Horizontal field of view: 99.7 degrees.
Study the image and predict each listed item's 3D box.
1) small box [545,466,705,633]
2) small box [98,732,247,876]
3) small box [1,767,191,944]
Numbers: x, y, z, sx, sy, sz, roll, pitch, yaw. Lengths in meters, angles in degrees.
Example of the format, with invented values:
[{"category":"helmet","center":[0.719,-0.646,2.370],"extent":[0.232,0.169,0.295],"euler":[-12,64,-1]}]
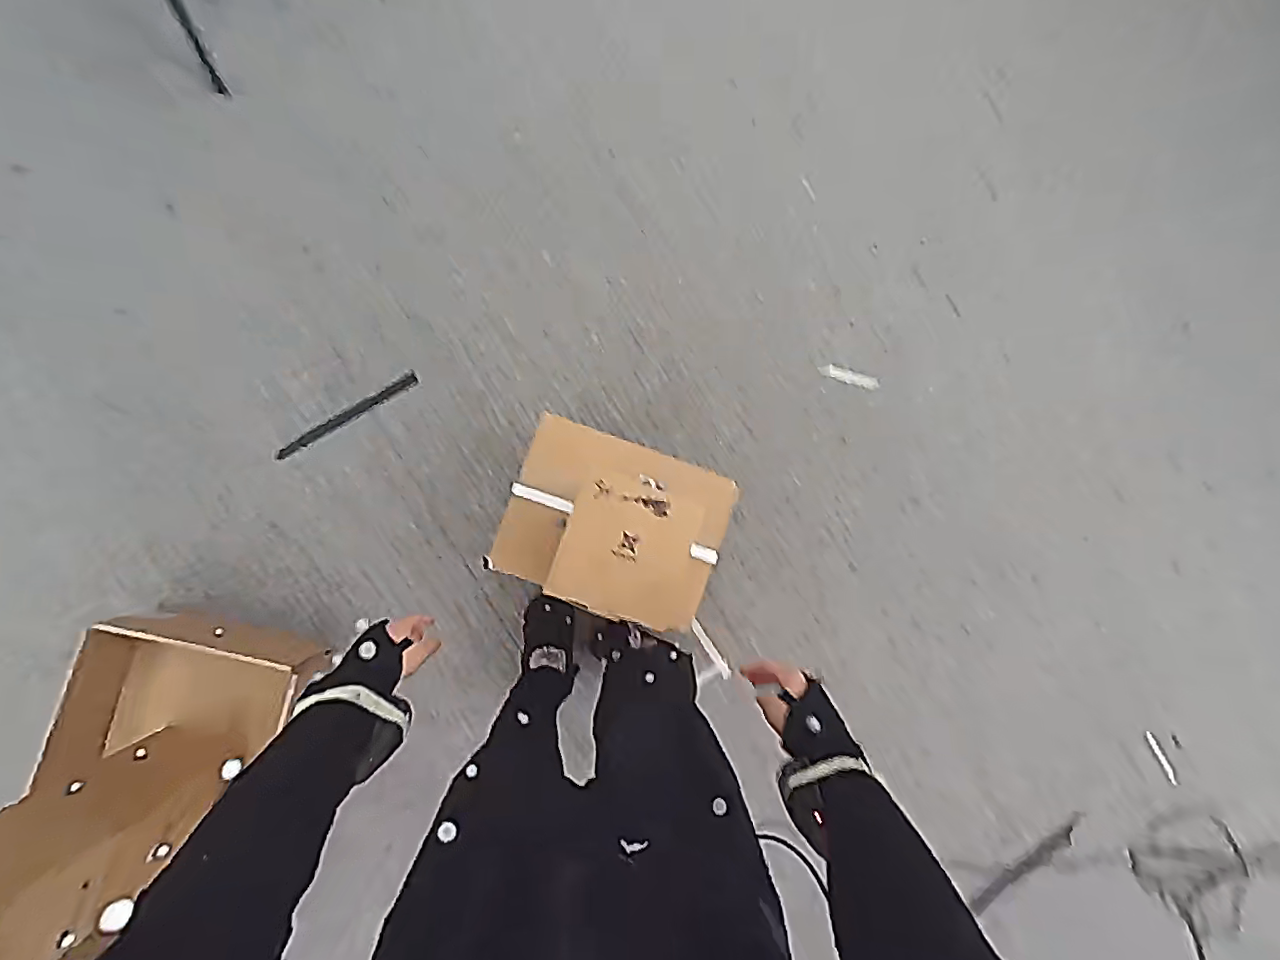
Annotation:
[{"category":"small box","center":[-0.025,0.094,0.777],"extent":[0.168,0.176,0.179],"euler":[20,84,-5]},{"category":"small box","center":[-0.934,0.622,1.061],"extent":[0.179,0.176,0.168],"euler":[18,85,-5]},{"category":"small box","center":[-0.918,0.608,0.901],"extent":[0.179,0.176,0.168],"euler":[17,85,-6]}]
